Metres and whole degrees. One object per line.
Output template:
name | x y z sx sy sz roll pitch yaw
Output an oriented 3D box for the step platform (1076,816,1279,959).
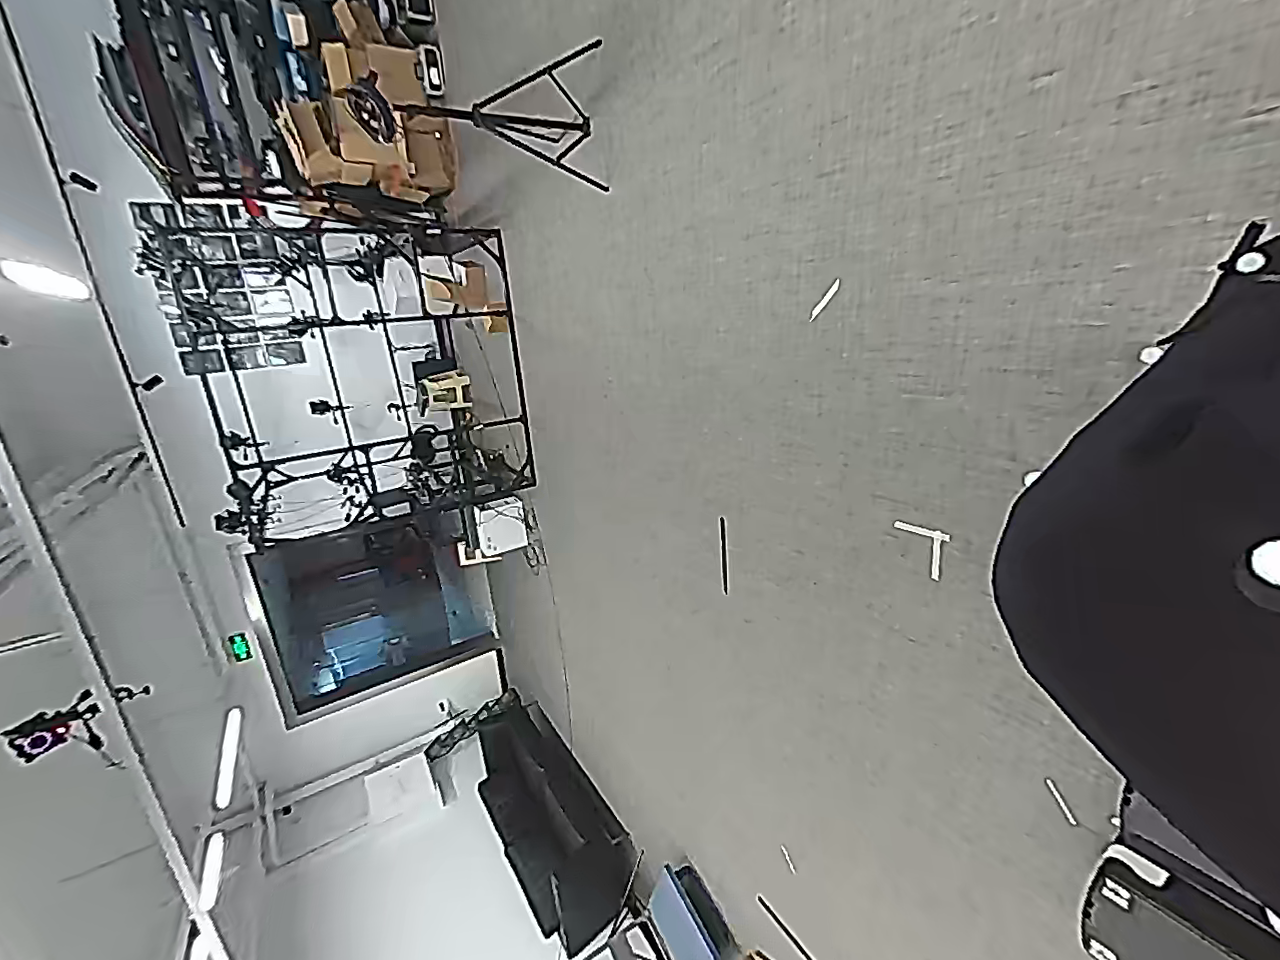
step platform | 1.311 1.051 1.084 0.684 0.204 0.286 23 122 57
